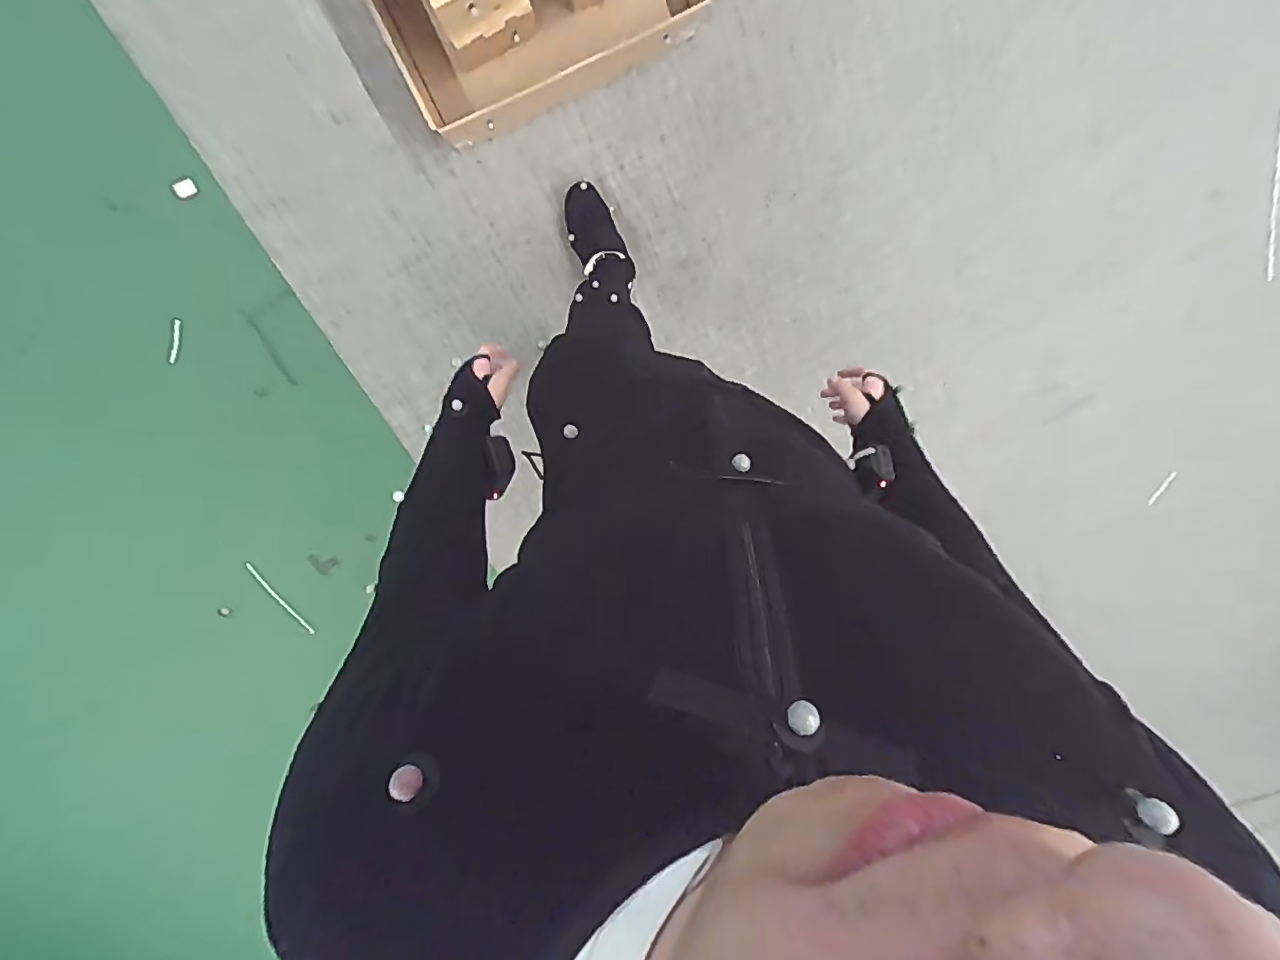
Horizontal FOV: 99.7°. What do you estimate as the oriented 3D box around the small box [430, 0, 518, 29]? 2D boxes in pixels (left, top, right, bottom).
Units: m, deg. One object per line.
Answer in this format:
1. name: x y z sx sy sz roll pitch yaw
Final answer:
1. small box: -0.301 -0.893 0.893 0.168 0.176 0.179 -26 115 4
